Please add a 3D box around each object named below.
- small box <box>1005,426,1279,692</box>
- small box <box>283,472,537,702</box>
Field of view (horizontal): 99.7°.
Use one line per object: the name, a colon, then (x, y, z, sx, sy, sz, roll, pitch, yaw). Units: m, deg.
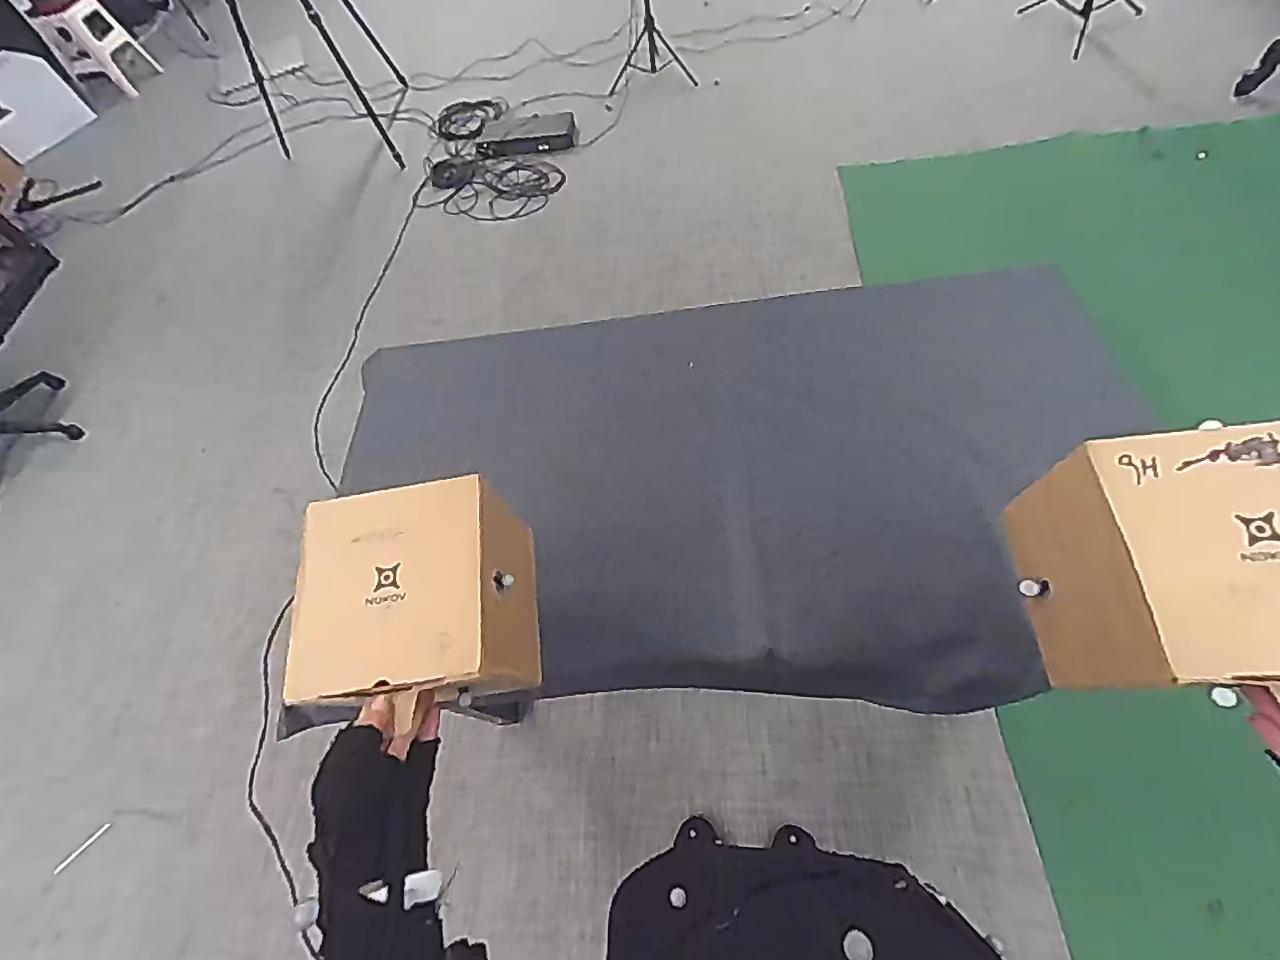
small box: (0.436, 0.074, 0.437, 0.168, 0.176, 0.179, -6, 68, 10)
small box: (-0.203, 0.114, 0.527, 0.168, 0.176, 0.179, -9, 65, 2)
